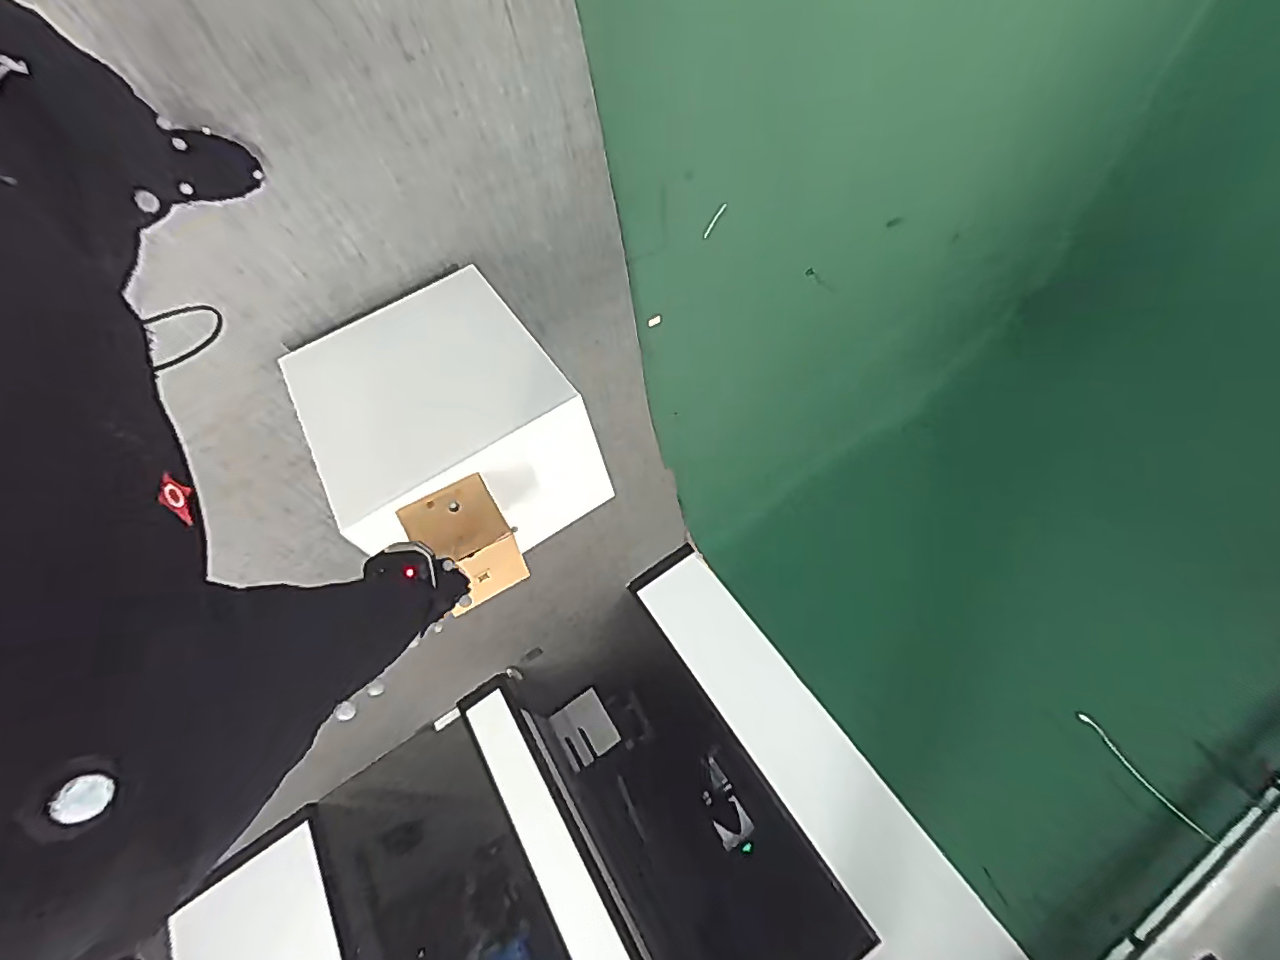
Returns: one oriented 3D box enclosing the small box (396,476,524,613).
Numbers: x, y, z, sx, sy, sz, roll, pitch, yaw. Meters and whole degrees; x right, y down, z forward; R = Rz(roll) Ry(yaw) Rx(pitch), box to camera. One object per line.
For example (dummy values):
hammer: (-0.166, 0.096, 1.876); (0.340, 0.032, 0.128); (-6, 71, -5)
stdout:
small box: (-0.350, 0.124, 1.063); (0.168, 0.176, 0.179); (-28, 149, -18)
